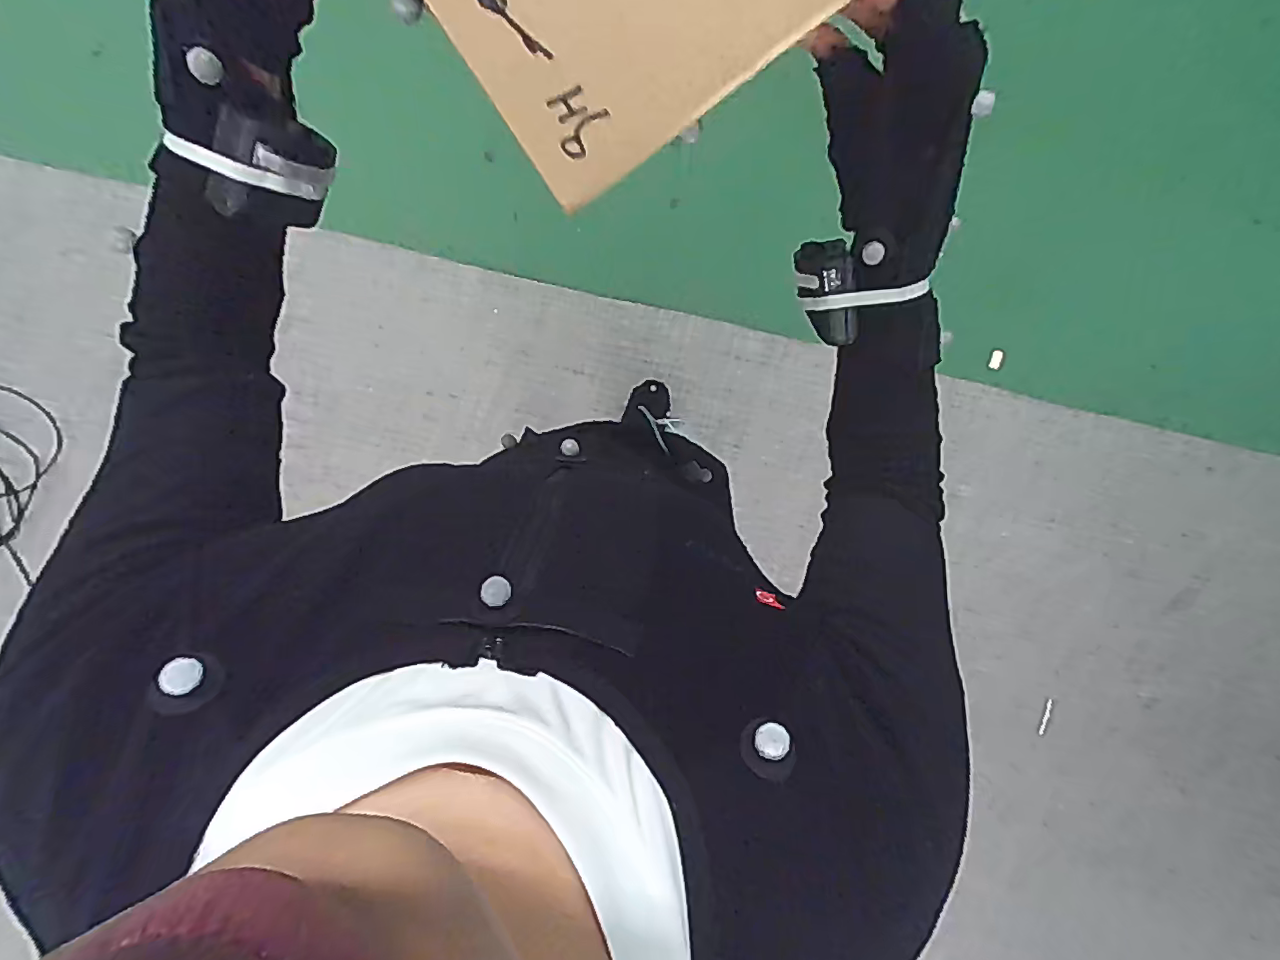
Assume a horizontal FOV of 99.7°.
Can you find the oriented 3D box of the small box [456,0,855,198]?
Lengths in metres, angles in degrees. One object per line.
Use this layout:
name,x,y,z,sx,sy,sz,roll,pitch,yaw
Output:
small box,-0.008,-0.275,0.271,0.179,0.176,0.168,-32,120,12
